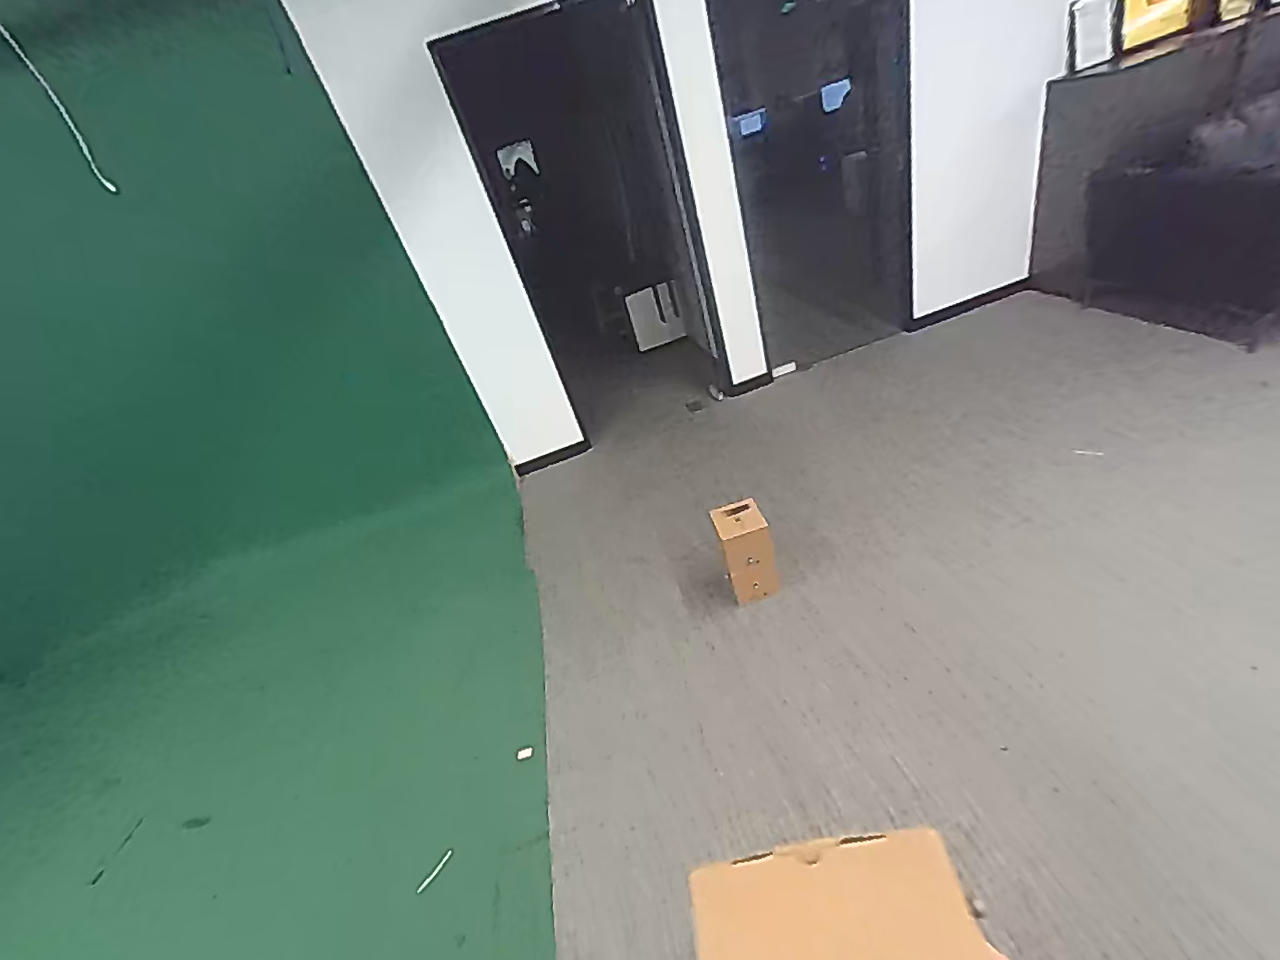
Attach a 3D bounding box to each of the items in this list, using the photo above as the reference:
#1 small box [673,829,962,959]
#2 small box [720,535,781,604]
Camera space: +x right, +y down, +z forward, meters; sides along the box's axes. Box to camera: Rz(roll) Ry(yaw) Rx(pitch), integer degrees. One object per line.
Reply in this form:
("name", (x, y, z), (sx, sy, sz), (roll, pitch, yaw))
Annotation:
("small box", (0.133, 0.362, 0.351), (0.168, 0.176, 0.179), (-18, 40, 8))
("small box", (0.415, 0.341, 2.020), (0.168, 0.176, 0.179), (-19, 33, 0))
